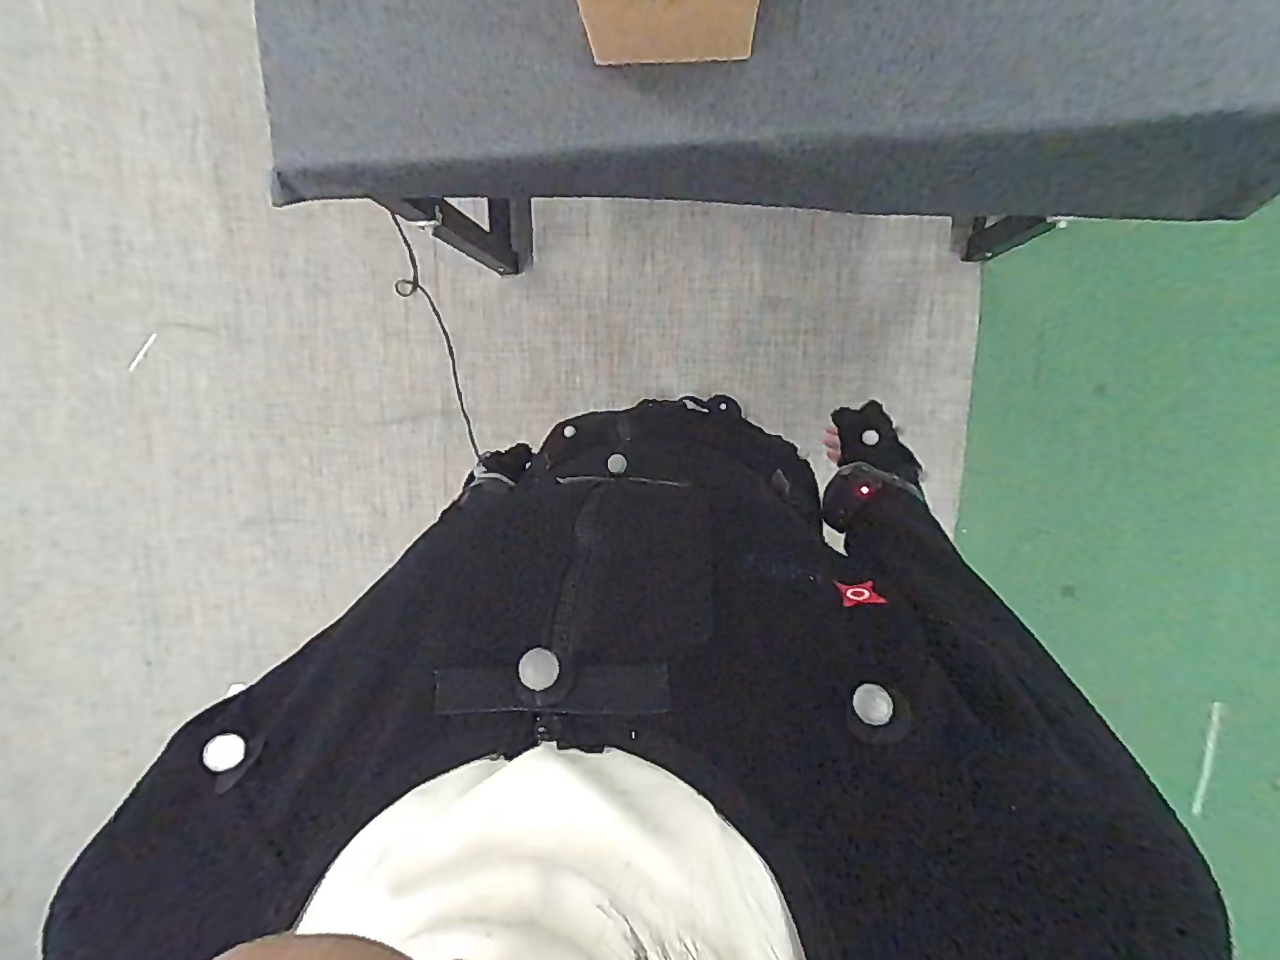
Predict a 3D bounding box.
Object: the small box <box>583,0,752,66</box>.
[{"bbox_3d":[0.029,-0.549,0.539,0.179,0.176,0.168,2,100,5],"label":"small box"}]
